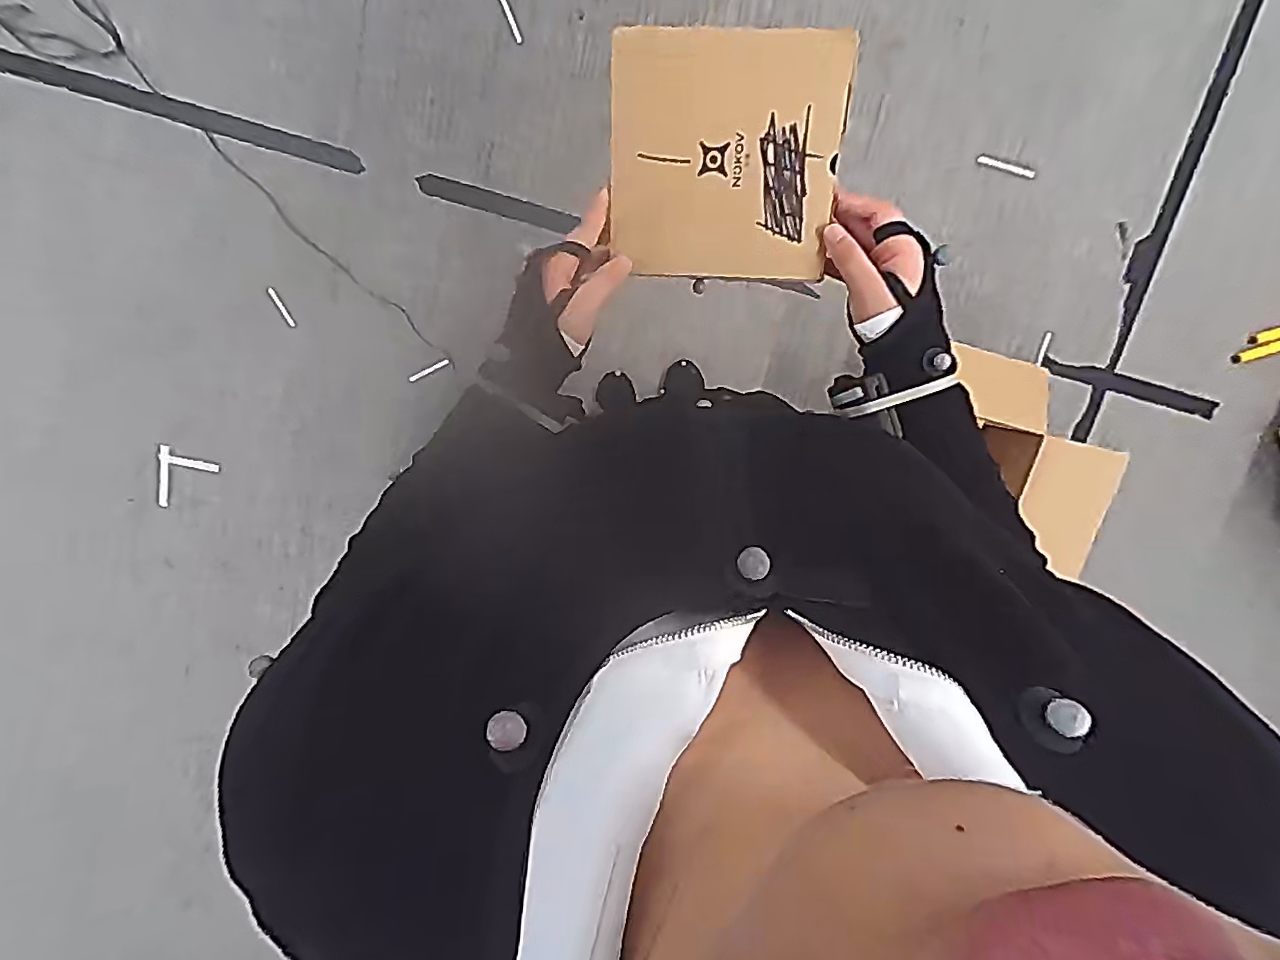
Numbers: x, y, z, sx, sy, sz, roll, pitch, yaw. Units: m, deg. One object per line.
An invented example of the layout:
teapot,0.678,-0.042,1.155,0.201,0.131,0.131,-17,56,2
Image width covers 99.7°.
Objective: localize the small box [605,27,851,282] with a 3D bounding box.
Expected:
small box,0.064,-0.272,0.487,0.179,0.176,0.168,3,111,2
